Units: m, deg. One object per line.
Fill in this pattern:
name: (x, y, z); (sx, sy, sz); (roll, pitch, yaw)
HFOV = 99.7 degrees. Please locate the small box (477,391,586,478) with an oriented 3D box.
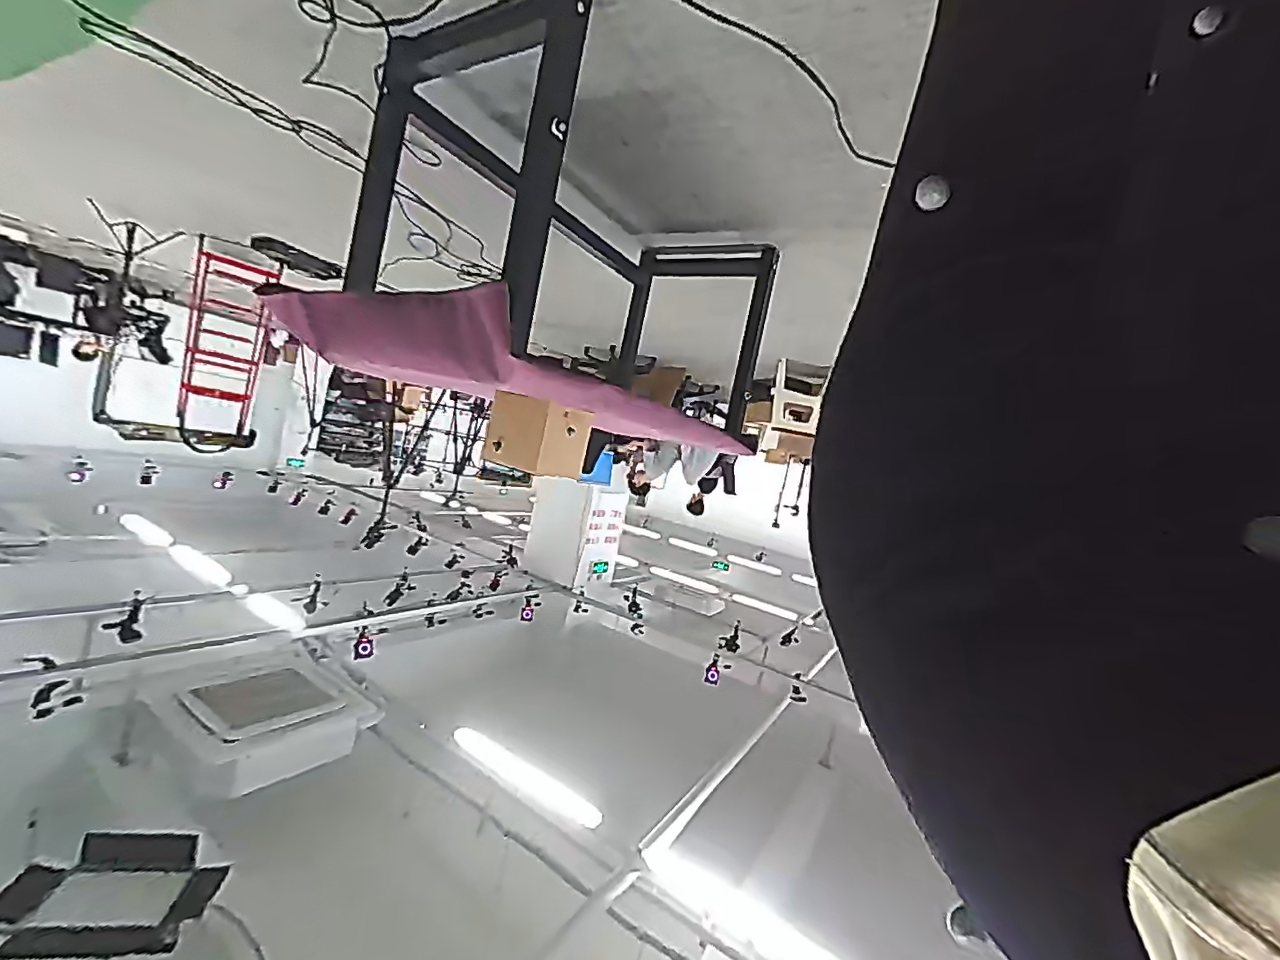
small box: (-0.250, -0.110, 1.276); (0.179, 0.176, 0.168); (15, -176, 30)
